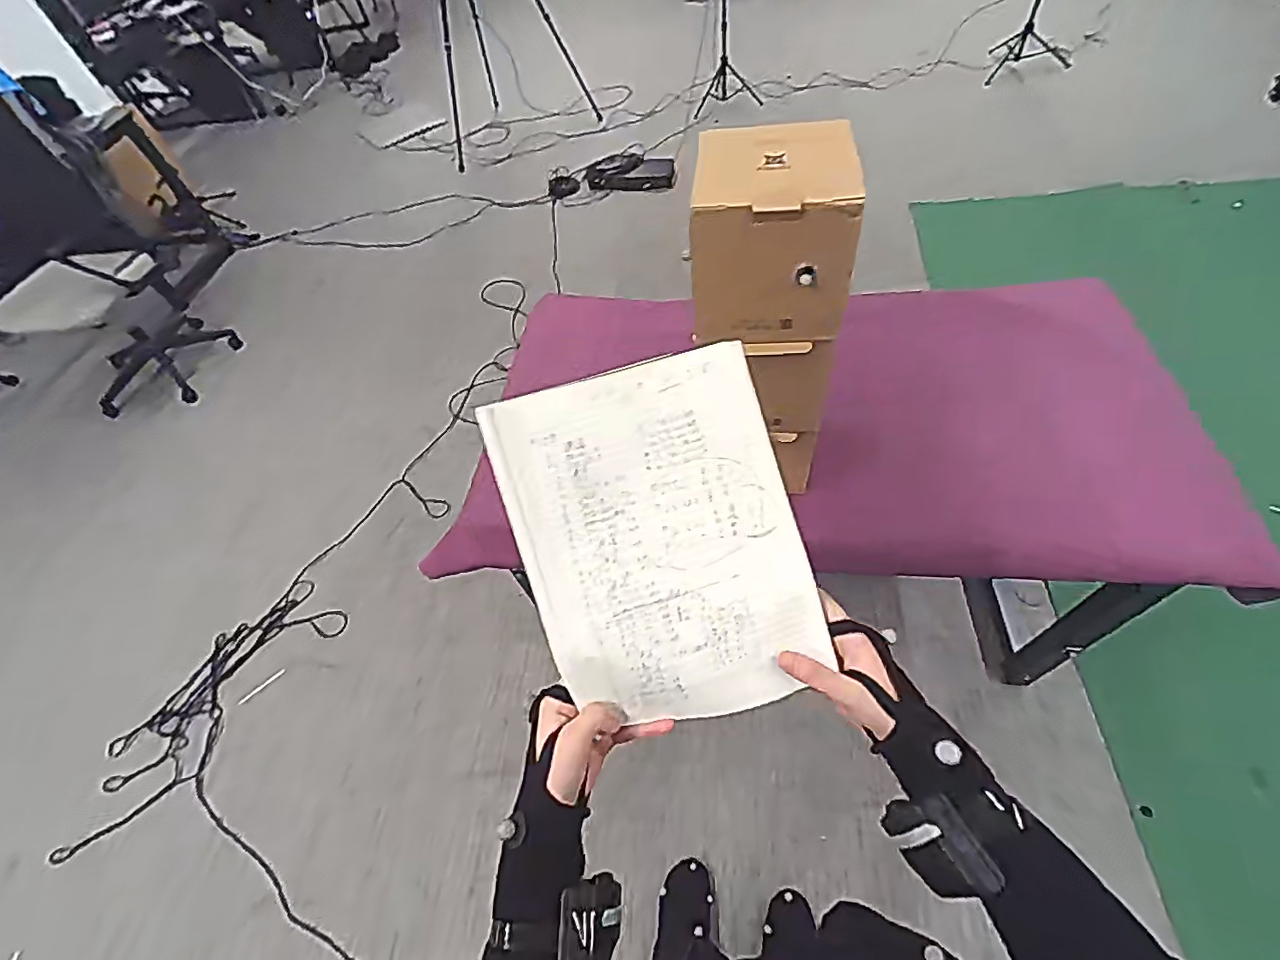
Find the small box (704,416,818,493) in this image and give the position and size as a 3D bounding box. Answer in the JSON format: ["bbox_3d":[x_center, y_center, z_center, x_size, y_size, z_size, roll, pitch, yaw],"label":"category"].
[{"bbox_3d":[0.197,-0.092,0.897,0.168,0.176,0.179,2,55,10],"label":"small box"}]

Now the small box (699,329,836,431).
[{"bbox_3d":[0.175,-0.184,0.761,0.168,0.176,0.179,2,53,10],"label":"small box"}]

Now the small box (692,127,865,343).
[{"bbox_3d":[0.154,-0.276,0.628,0.168,0.176,0.179,3,54,10],"label":"small box"}]
